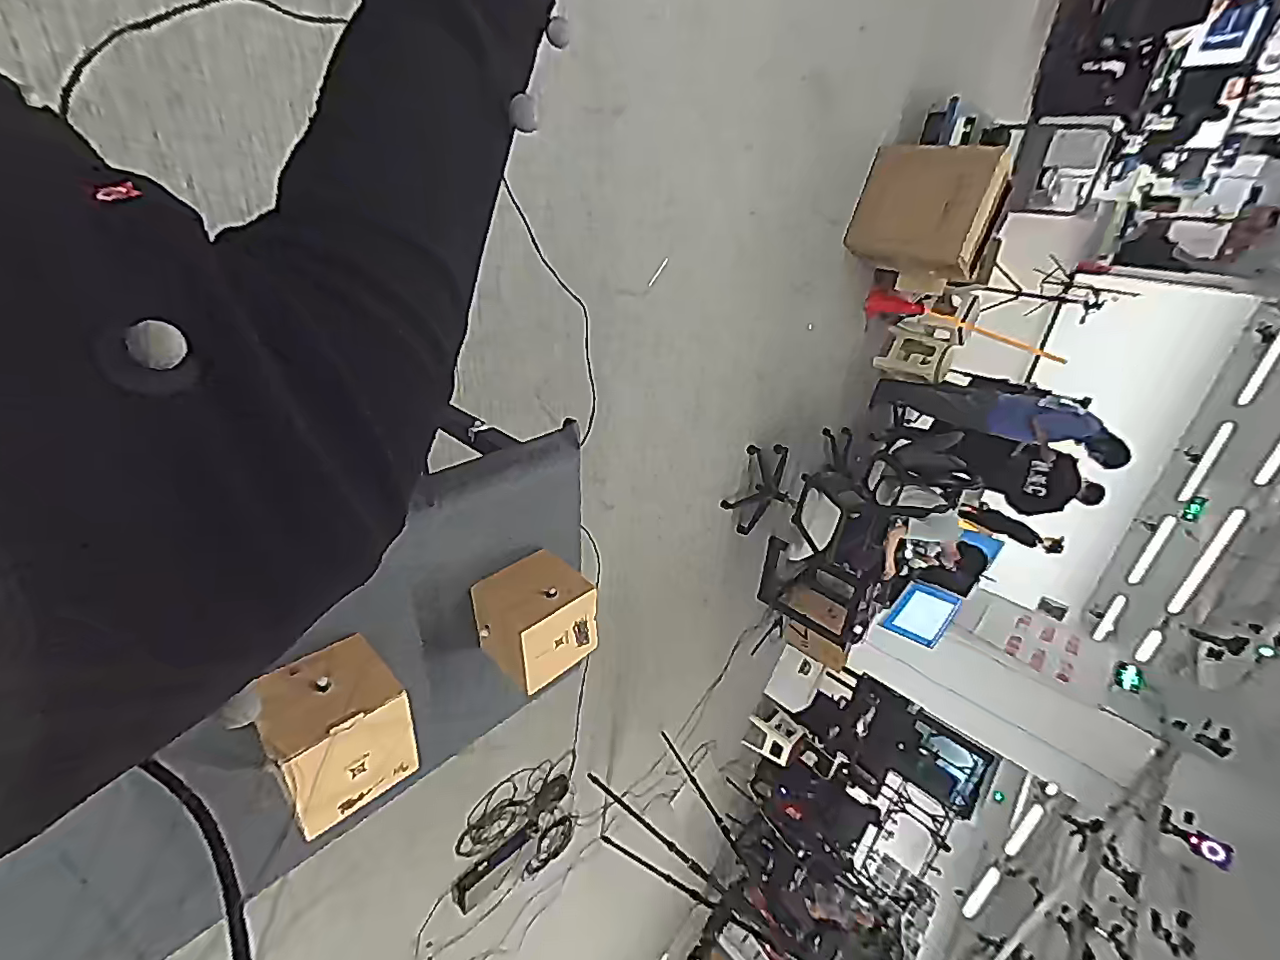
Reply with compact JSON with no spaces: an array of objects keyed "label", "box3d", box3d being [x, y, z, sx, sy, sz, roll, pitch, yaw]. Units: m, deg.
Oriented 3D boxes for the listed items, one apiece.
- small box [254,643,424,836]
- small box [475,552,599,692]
[{"label":"small box","box3d":[-0.455,0.376,0.823,0.168,0.176,0.179,-23,128,-42]},{"label":"small box","box3d":[-0.200,0.270,1.070,0.179,0.176,0.168,-27,130,-38]}]
